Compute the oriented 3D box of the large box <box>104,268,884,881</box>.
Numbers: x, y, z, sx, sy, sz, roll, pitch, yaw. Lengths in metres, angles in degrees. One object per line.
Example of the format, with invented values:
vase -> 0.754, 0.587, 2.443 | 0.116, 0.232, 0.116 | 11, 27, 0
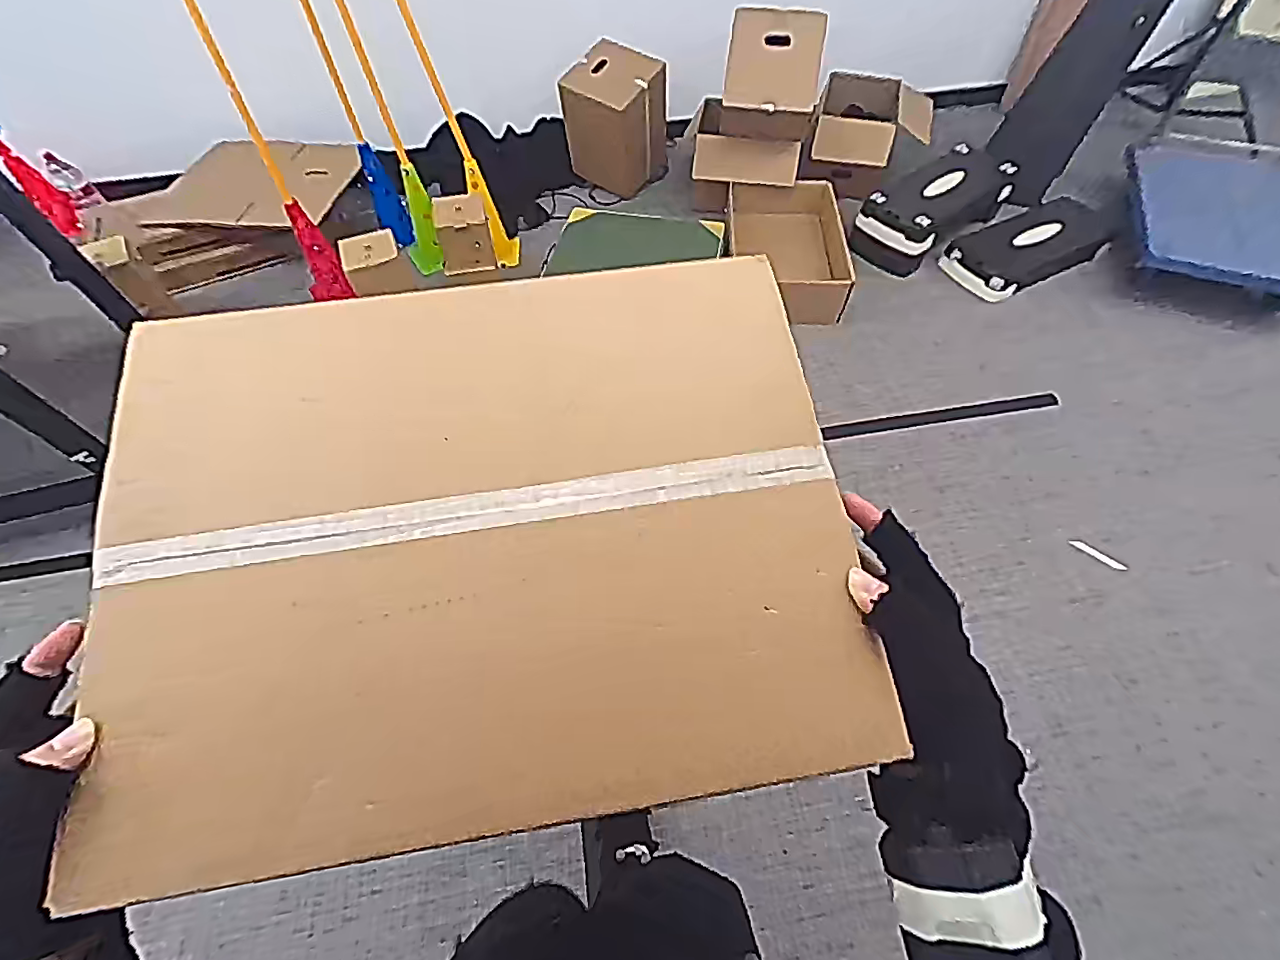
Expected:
large box -> -0.092, 0.069, 0.461 | 0.408, 0.320, 0.320 | -8, 72, -5
